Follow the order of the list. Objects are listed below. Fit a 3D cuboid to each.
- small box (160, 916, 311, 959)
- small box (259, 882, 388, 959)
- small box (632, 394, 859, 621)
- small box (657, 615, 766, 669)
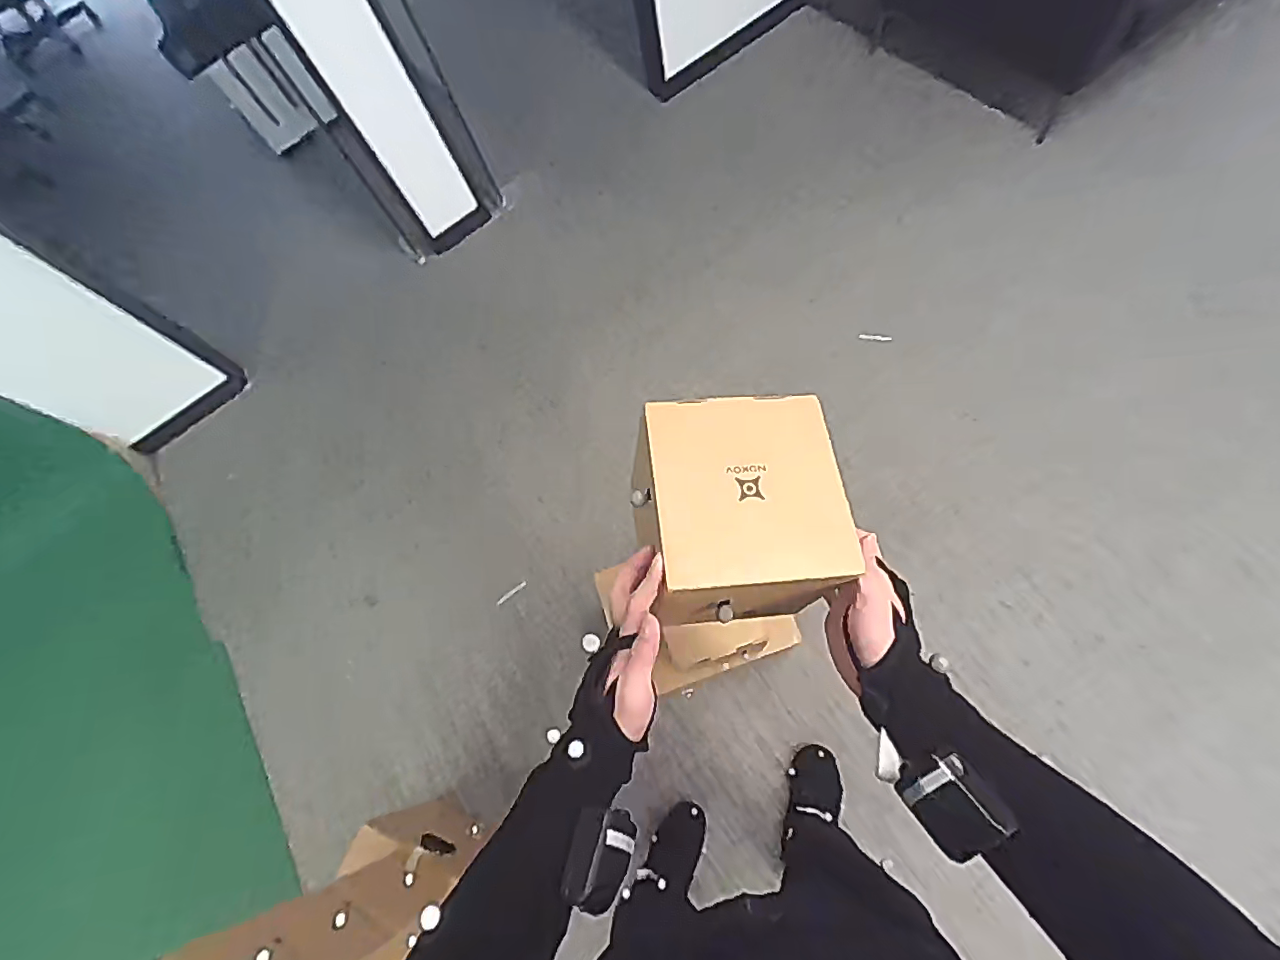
[{"bbox_3d":[-0.576,0.750,0.735,0.168,0.176,0.179,21,73,19],"label":"small box"},{"bbox_3d":[-0.550,0.810,0.885,0.168,0.176,0.179,21,74,19],"label":"small box"},{"bbox_3d":[0.083,0.037,0.531,0.168,0.176,0.179,-4,65,-7],"label":"small box"},{"bbox_3d":[0.120,0.234,0.987,0.168,0.176,0.179,-20,67,2],"label":"small box"}]
